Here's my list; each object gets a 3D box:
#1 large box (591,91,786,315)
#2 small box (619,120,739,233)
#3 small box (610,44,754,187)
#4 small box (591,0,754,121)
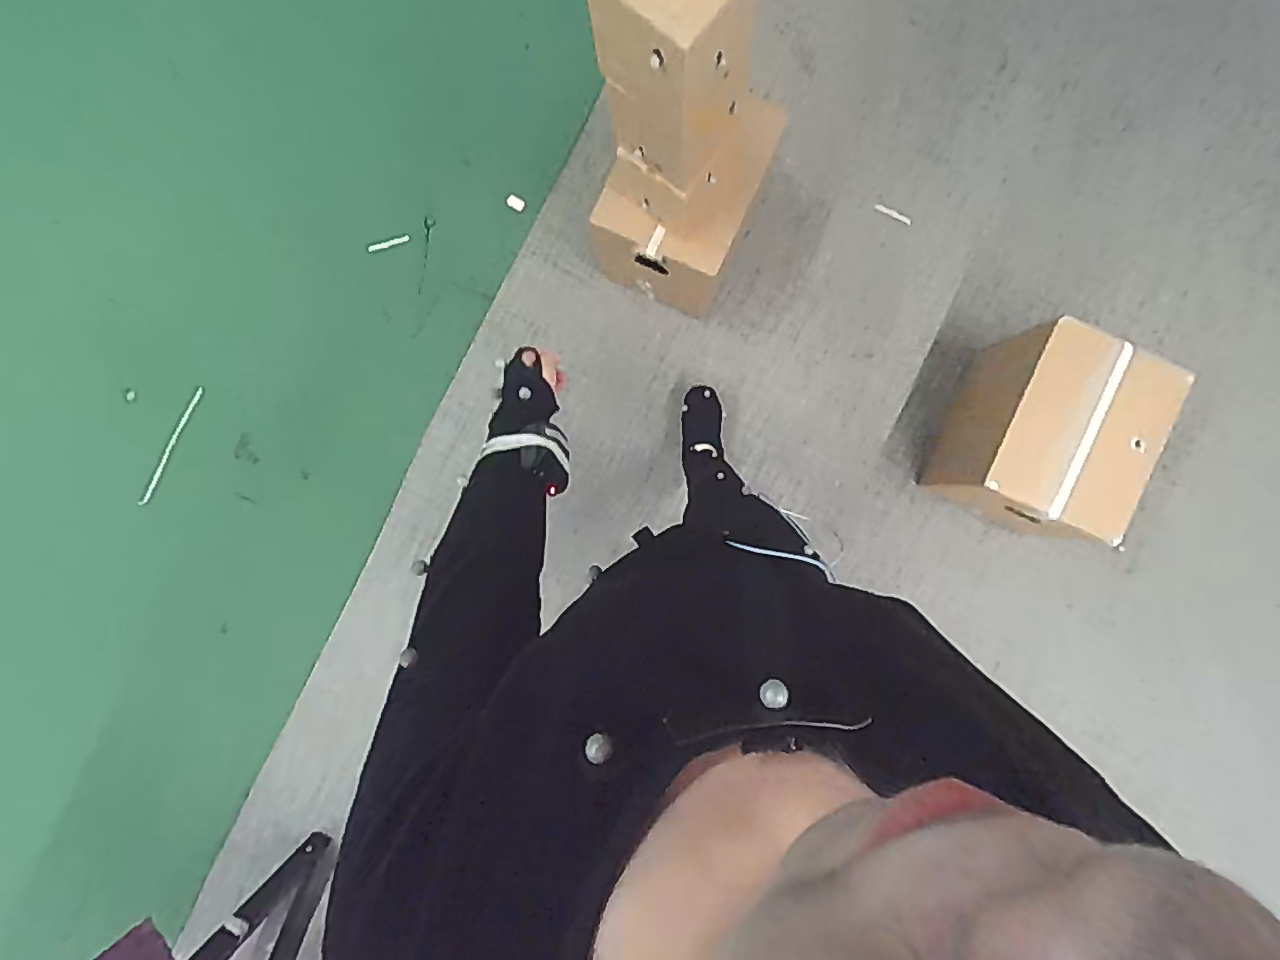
[{"bbox_3d":[0.112,-0.690,1.340,0.320,0.320,0.408,25,89,2],"label":"large box"},{"bbox_3d":[0.075,-0.649,1.098,0.168,0.176,0.179,36,91,3],"label":"small box"},{"bbox_3d":[0.068,-0.662,0.936,0.168,0.176,0.179,39,92,3],"label":"small box"},{"bbox_3d":[0.051,-0.664,0.772,0.179,0.176,0.168,40,91,3],"label":"small box"}]
